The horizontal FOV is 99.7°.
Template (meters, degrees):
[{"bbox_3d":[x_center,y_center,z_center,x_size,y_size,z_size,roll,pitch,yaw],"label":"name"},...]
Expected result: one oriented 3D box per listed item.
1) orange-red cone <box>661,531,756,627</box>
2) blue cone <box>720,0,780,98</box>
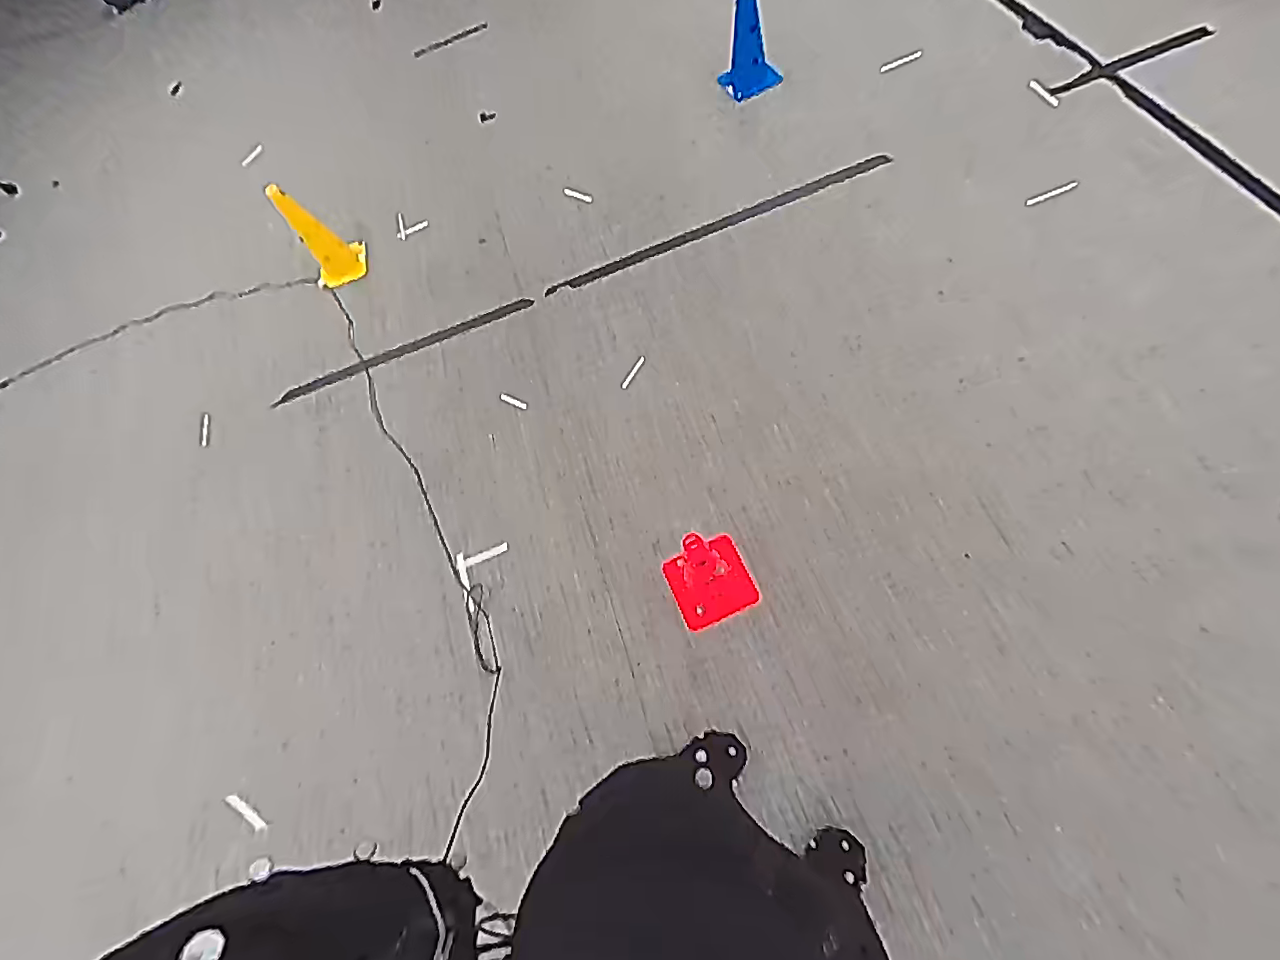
[{"bbox_3d":[0.135,0.182,1.210,0.199,0.360,0.198,-24,64,1],"label":"orange-red cone"},{"bbox_3d":[0.385,-1.620,1.933,0.193,0.380,0.192,-25,64,2],"label":"blue cone"}]
